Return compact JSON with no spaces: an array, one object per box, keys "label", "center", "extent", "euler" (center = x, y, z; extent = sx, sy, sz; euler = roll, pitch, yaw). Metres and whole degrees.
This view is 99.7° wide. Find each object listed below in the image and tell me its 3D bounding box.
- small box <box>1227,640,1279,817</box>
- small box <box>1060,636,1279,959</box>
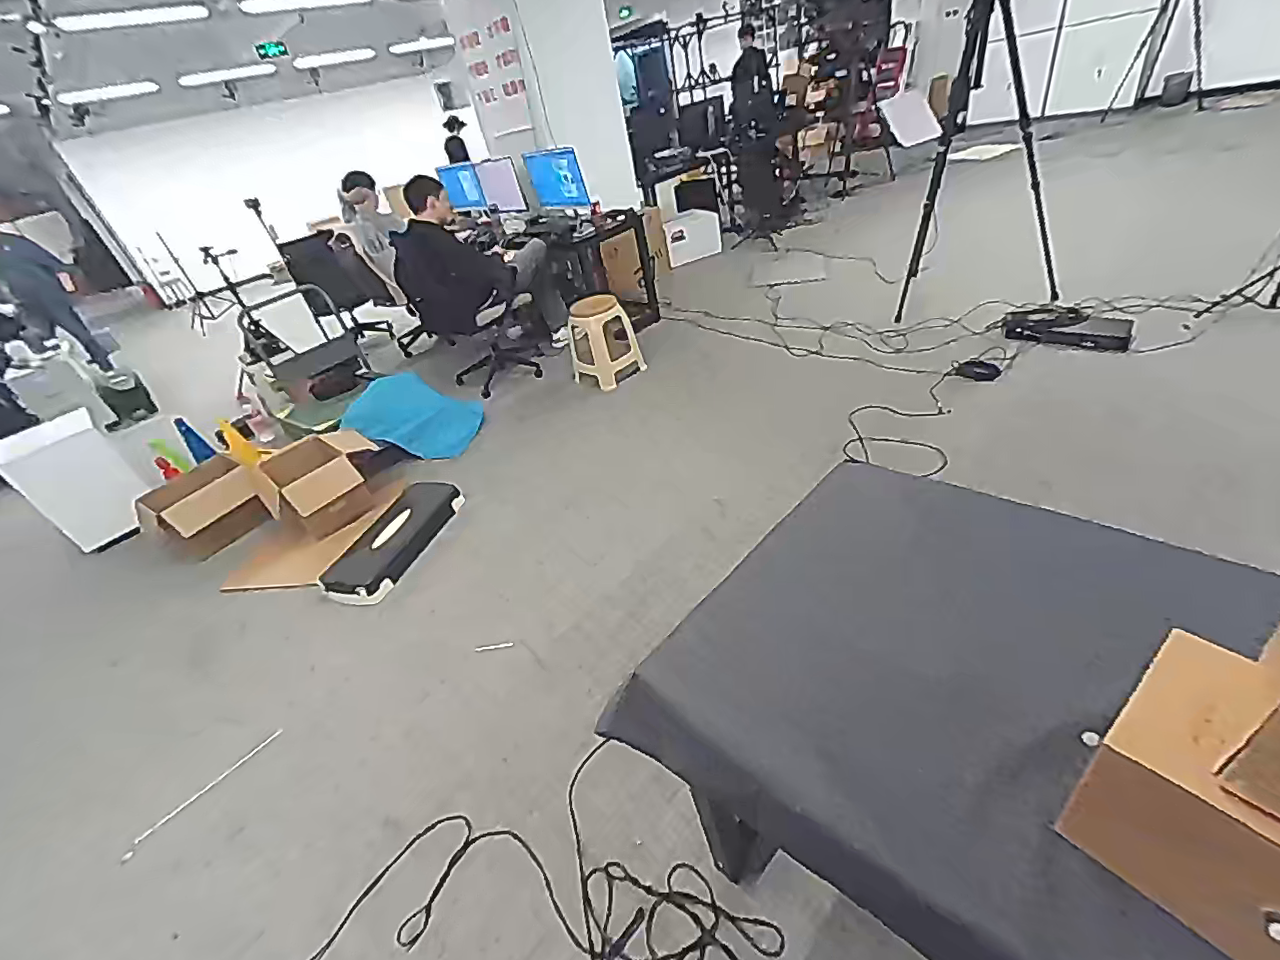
[{"label":"small box","center":[0.535,0.152,0.341],"extent":[0.179,0.176,0.168],"euler":[-30,39,-27]},{"label":"small box","center":[0.507,0.278,0.459],"extent":[0.168,0.176,0.179],"euler":[-31,37,-25]}]
